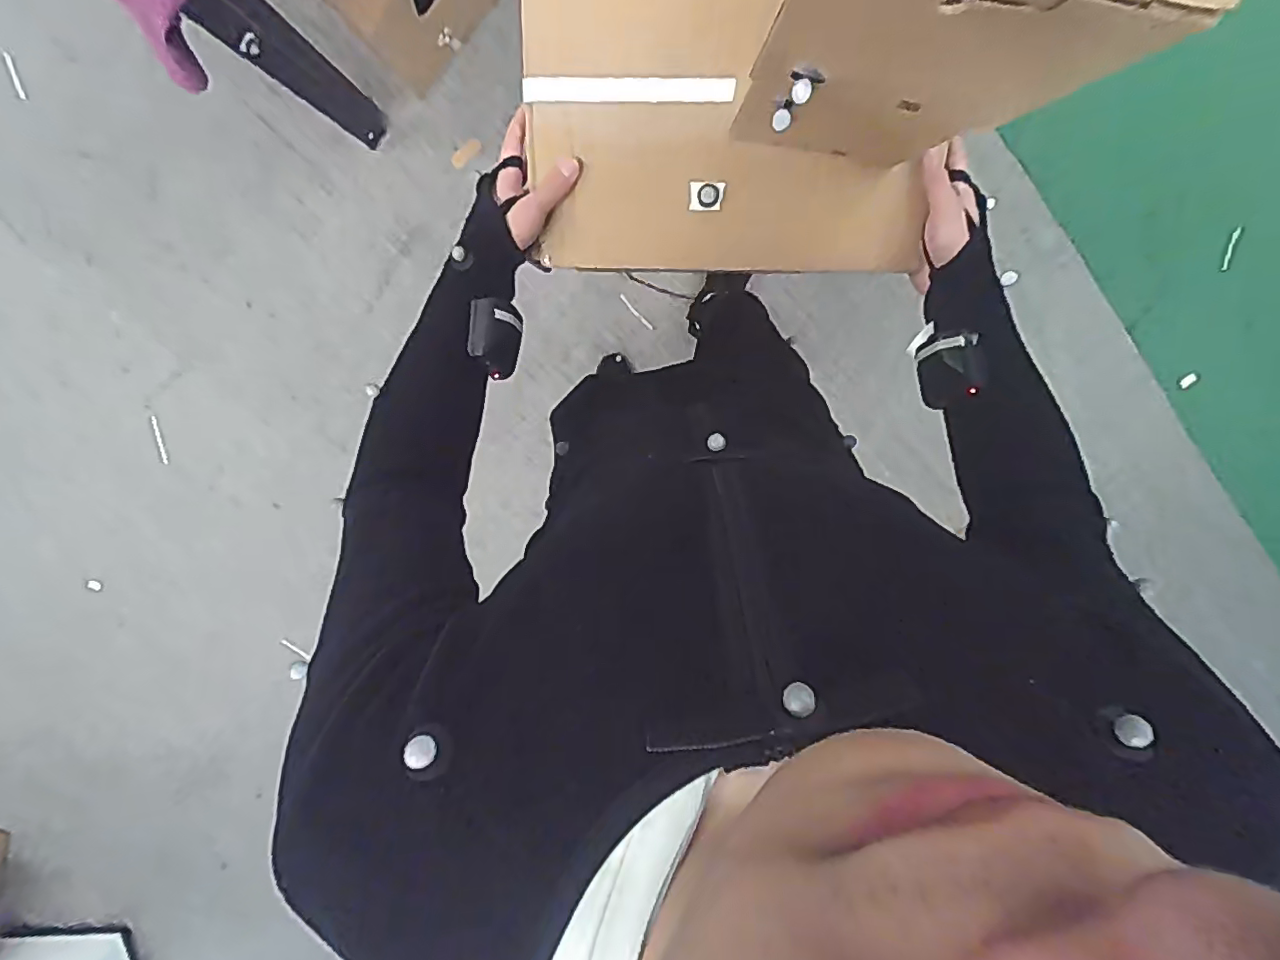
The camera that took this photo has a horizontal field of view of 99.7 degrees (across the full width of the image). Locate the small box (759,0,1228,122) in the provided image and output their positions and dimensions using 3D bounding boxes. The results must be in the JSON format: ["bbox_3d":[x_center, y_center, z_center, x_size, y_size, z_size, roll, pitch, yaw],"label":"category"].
[{"bbox_3d":[0.163,-0.297,0.250,0.168,0.176,0.179,11,109,-3],"label":"small box"}]

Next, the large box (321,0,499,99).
[{"bbox_3d":[-0.563,-1.119,1.116,0.408,0.320,0.320,43,99,-12],"label":"large box"}]
